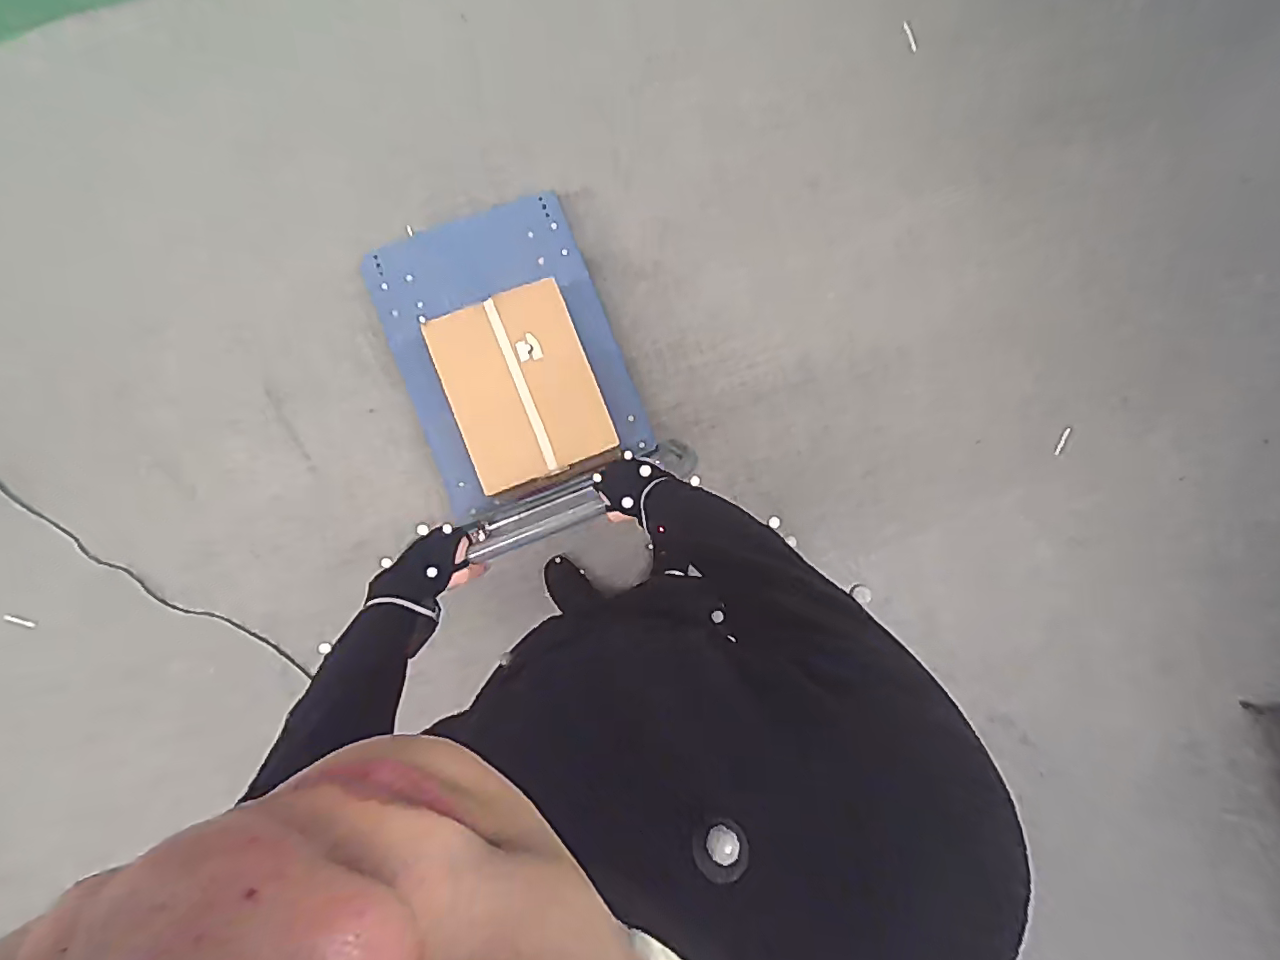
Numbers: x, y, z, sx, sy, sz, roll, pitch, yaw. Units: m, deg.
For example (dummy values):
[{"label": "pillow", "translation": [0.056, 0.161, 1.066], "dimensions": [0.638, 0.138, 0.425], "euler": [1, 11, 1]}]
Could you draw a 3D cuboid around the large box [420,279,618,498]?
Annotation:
[{"label": "large box", "translation": [-0.269, -0.197, 1.322], "dimensions": [0.320, 0.320, 0.408], "euler": [-22, 87, -5]}]
